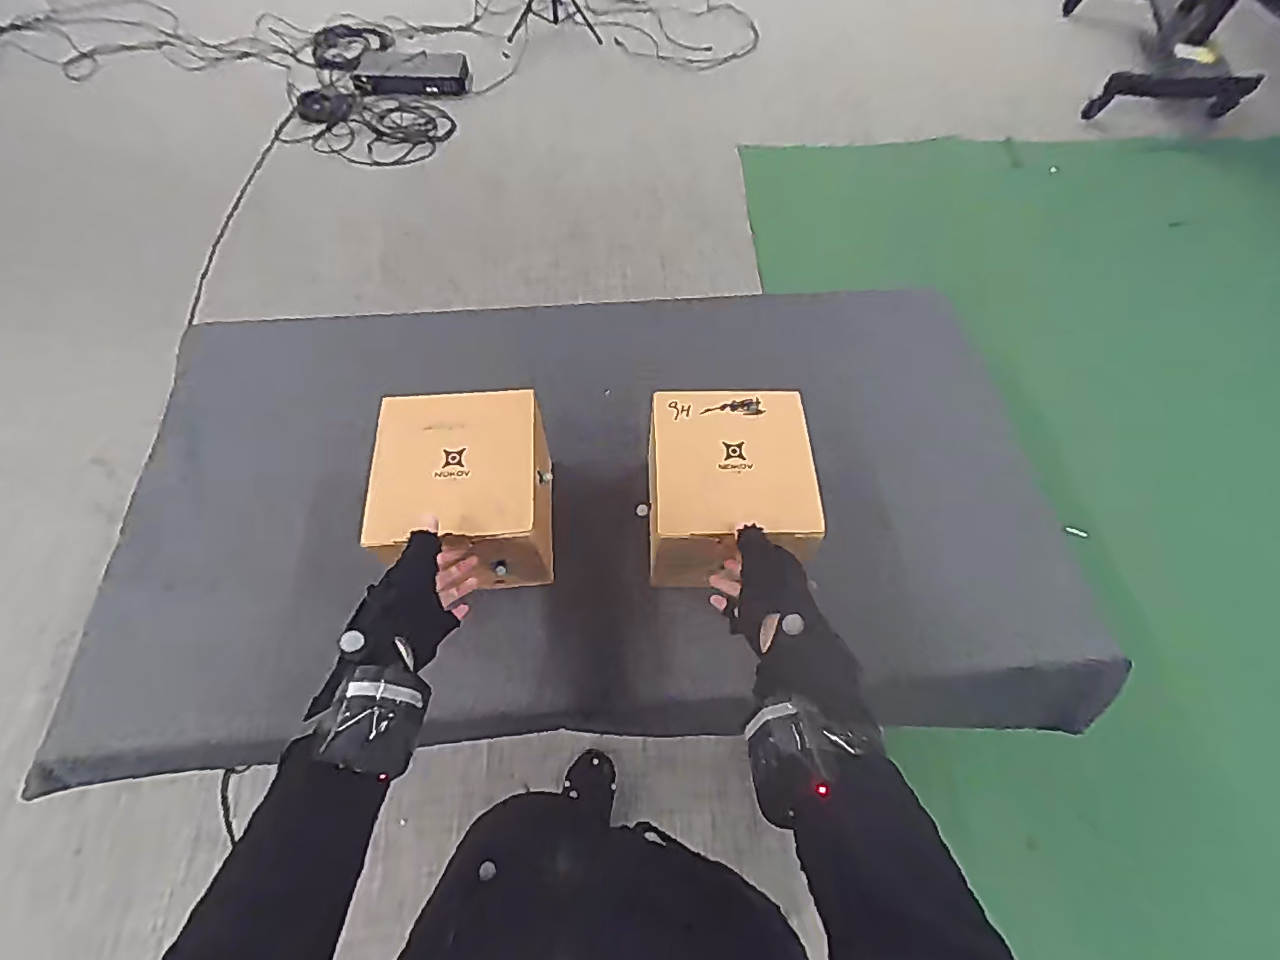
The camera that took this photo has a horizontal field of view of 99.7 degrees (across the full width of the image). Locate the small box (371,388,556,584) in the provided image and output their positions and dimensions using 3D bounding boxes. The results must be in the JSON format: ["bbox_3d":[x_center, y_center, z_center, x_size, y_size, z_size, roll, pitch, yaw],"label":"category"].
[{"bbox_3d":[-0.191,0.015,0.635,0.168,0.176,0.179,-5,62,-5],"label":"small box"}]

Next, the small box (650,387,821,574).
[{"bbox_3d":[0.098,0.010,0.642,0.168,0.176,0.179,-1,63,-2],"label":"small box"}]
